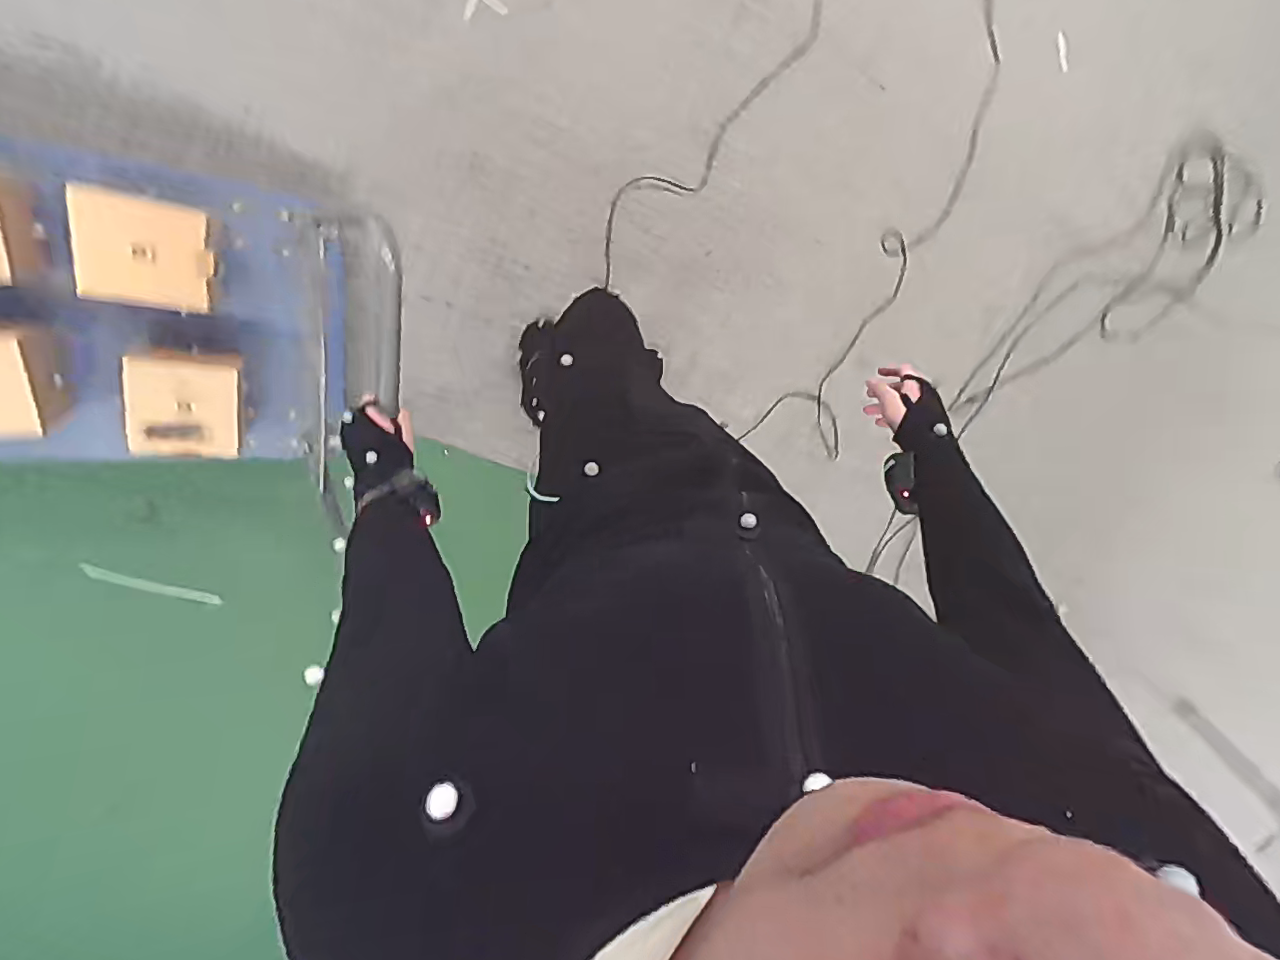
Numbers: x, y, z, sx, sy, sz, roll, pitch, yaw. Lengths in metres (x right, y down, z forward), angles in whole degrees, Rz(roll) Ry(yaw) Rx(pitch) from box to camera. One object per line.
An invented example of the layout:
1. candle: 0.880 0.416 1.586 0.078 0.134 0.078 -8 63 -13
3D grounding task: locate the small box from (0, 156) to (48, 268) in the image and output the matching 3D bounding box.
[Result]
1. small box: -1.084 -0.430 0.836 0.179 0.176 0.168 -3 113 -31

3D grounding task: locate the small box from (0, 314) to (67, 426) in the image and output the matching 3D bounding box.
1. small box: -1.127 -0.192 0.917 0.179 0.176 0.168 -5 113 -30

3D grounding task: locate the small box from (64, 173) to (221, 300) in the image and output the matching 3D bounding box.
1. small box: -0.873 -0.428 0.968 0.179 0.176 0.168 0 111 -32
